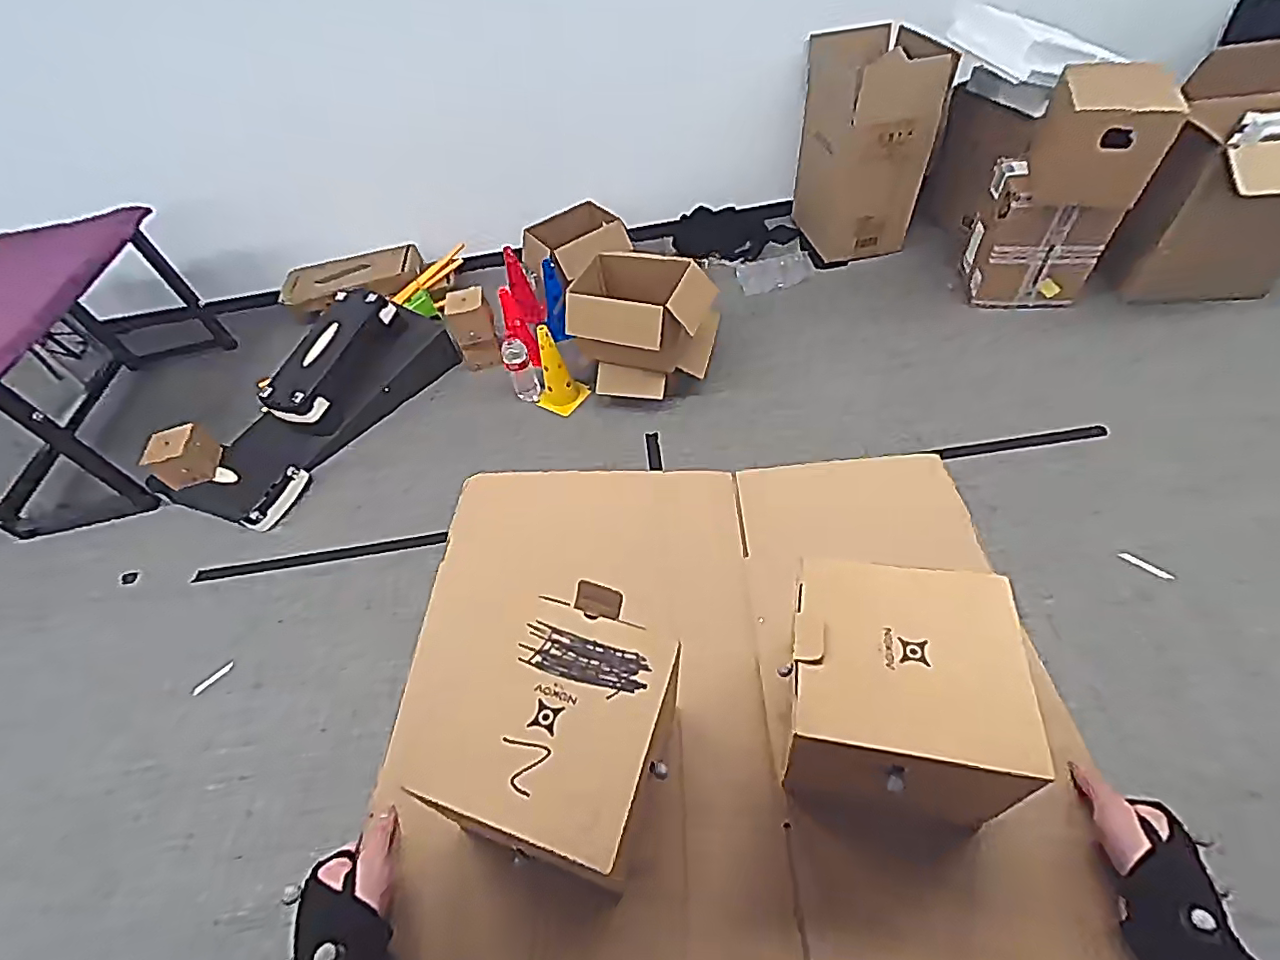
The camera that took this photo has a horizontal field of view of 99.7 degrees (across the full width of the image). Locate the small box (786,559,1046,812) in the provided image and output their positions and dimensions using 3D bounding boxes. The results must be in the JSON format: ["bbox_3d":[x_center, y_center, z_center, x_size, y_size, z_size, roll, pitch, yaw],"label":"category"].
[{"bbox_3d":[0.236,0.196,0.512,0.179,0.176,0.168,3,50,16],"label":"small box"}]
